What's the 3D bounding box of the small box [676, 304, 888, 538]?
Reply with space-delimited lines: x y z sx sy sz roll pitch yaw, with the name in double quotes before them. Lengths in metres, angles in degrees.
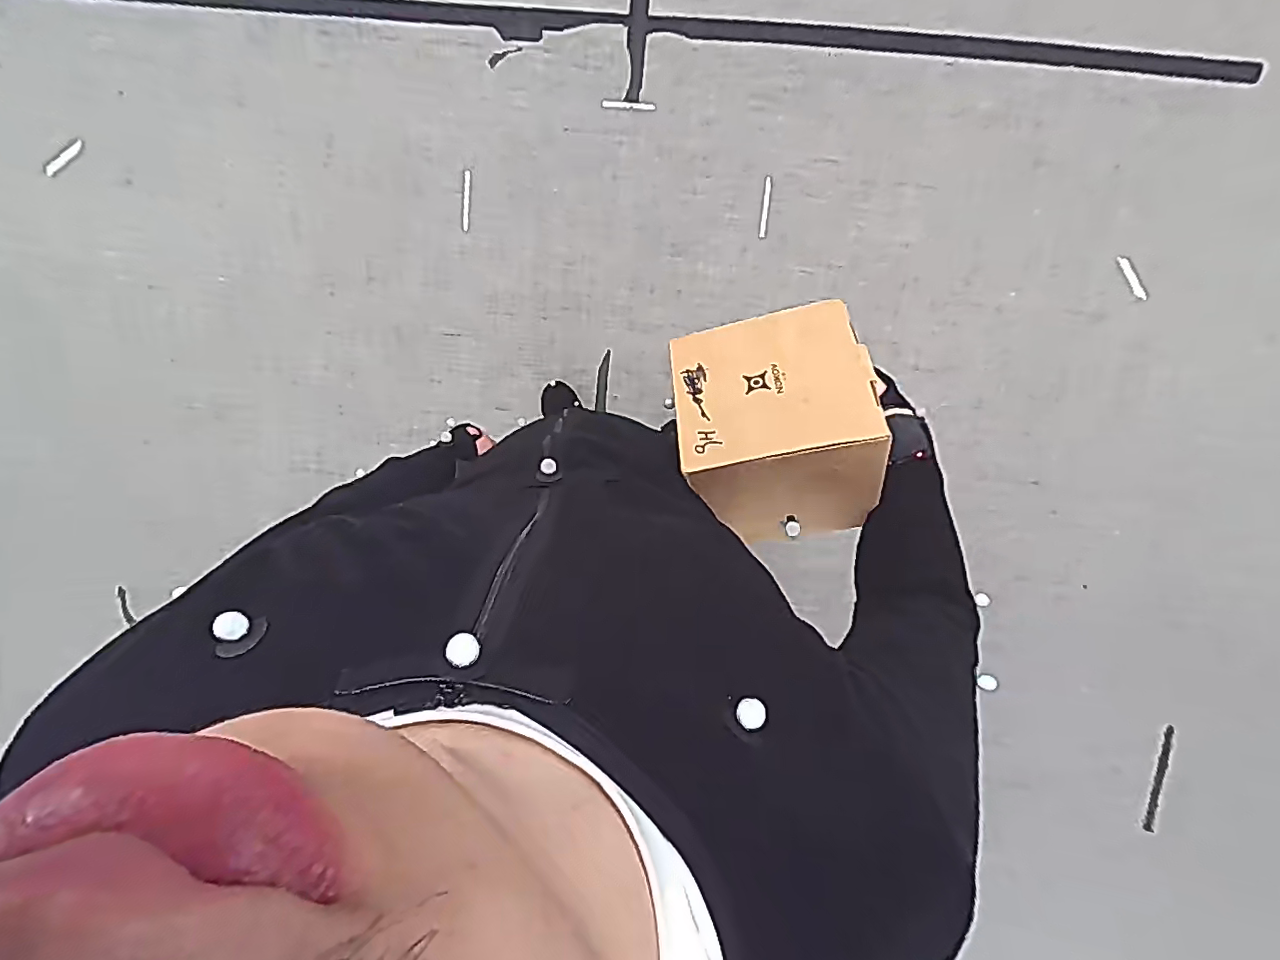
"small box" 0.143 -0.052 0.577 0.179 0.176 0.168 -10 57 12
